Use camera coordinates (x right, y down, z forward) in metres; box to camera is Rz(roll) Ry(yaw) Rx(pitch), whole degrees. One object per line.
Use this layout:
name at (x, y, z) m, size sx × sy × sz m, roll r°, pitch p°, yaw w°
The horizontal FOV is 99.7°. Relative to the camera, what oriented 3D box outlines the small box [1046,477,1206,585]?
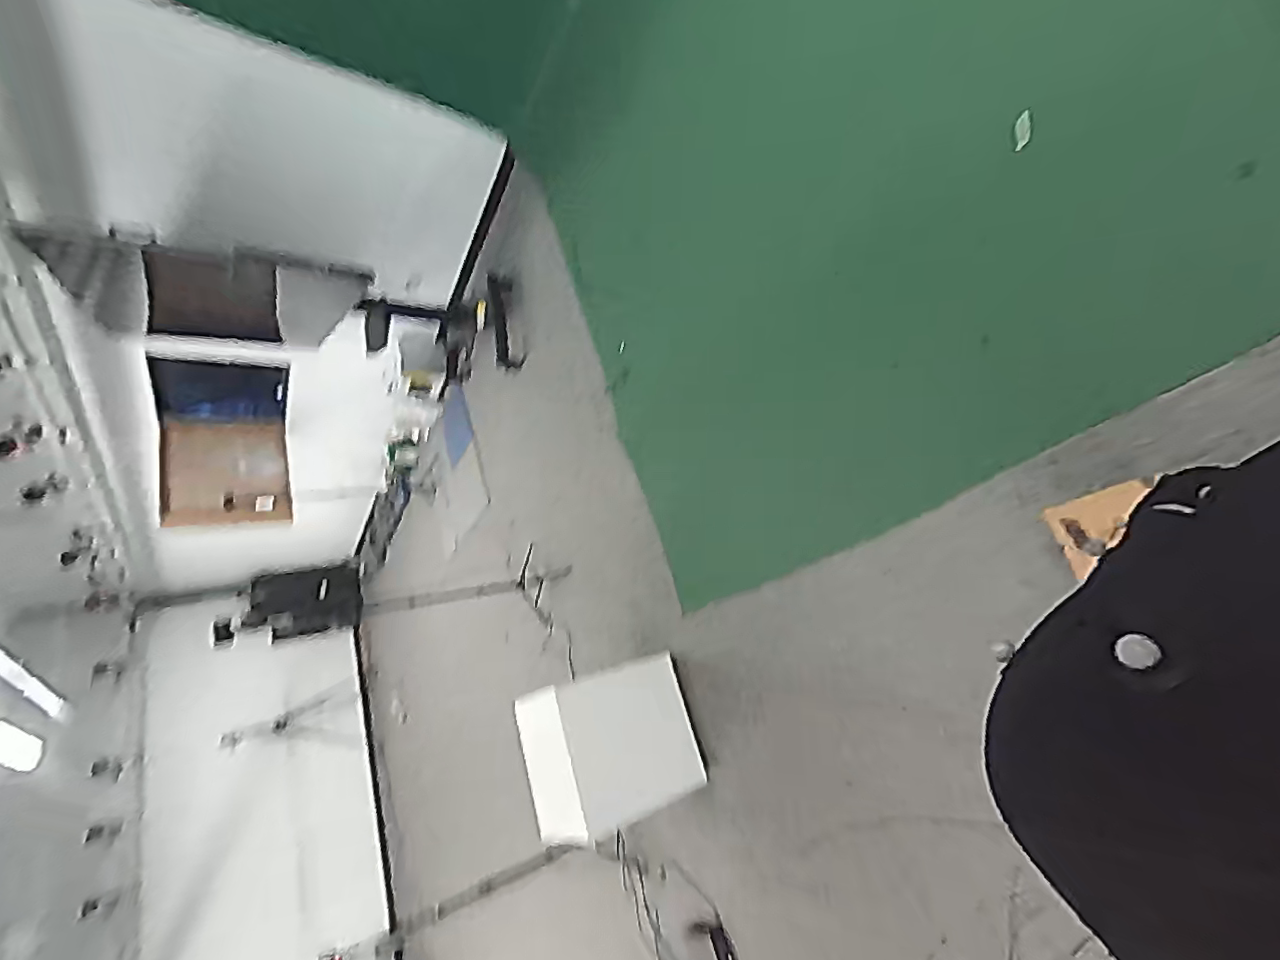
small box at (0.985, 0.103, 1.097) m, size 0.179 × 0.176 × 0.168 m, roll -38°, pitch 62°, yaw 45°
